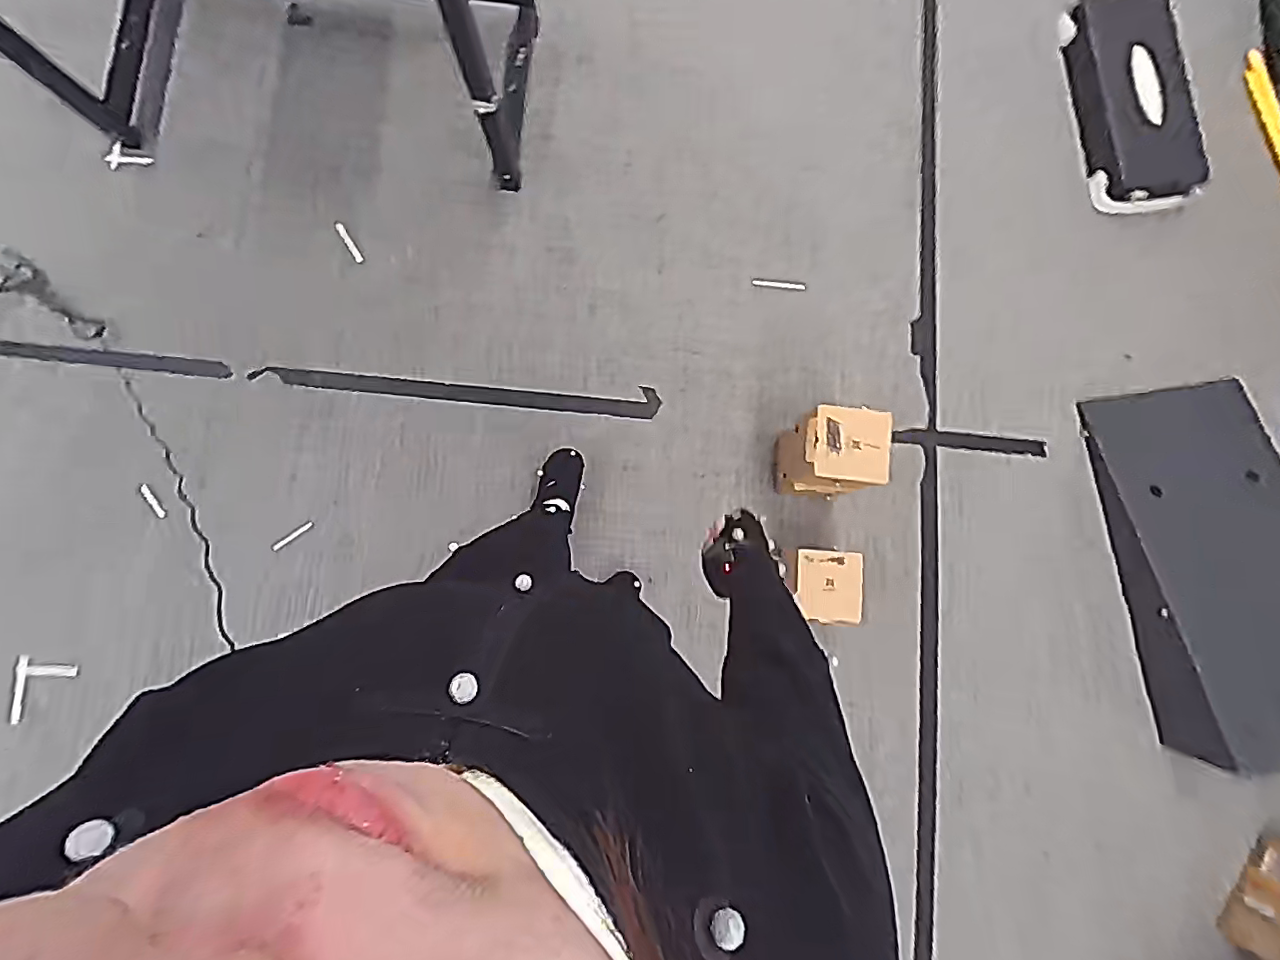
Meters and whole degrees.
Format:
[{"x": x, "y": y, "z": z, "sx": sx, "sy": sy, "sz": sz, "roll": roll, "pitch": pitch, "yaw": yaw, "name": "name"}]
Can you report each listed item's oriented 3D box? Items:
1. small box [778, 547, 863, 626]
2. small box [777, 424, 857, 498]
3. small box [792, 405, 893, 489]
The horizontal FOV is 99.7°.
[{"x": 0.468, "y": 0.273, "z": 1.422, "sx": 0.168, "sy": 0.176, "sz": 0.179, "roll": 5, "pitch": 85, "yaw": -1, "name": "small box"}, {"x": 0.474, "y": -0.045, "z": 1.454, "sx": 0.168, "sy": 0.176, "sz": 0.179, "roll": 4, "pitch": 84, "yaw": -1, "name": "small box"}, {"x": 0.476, "y": -0.071, "z": 1.292, "sx": 0.179, "sy": 0.176, "sz": 0.168, "roll": 7, "pitch": 85, "yaw": -2, "name": "small box"}]
